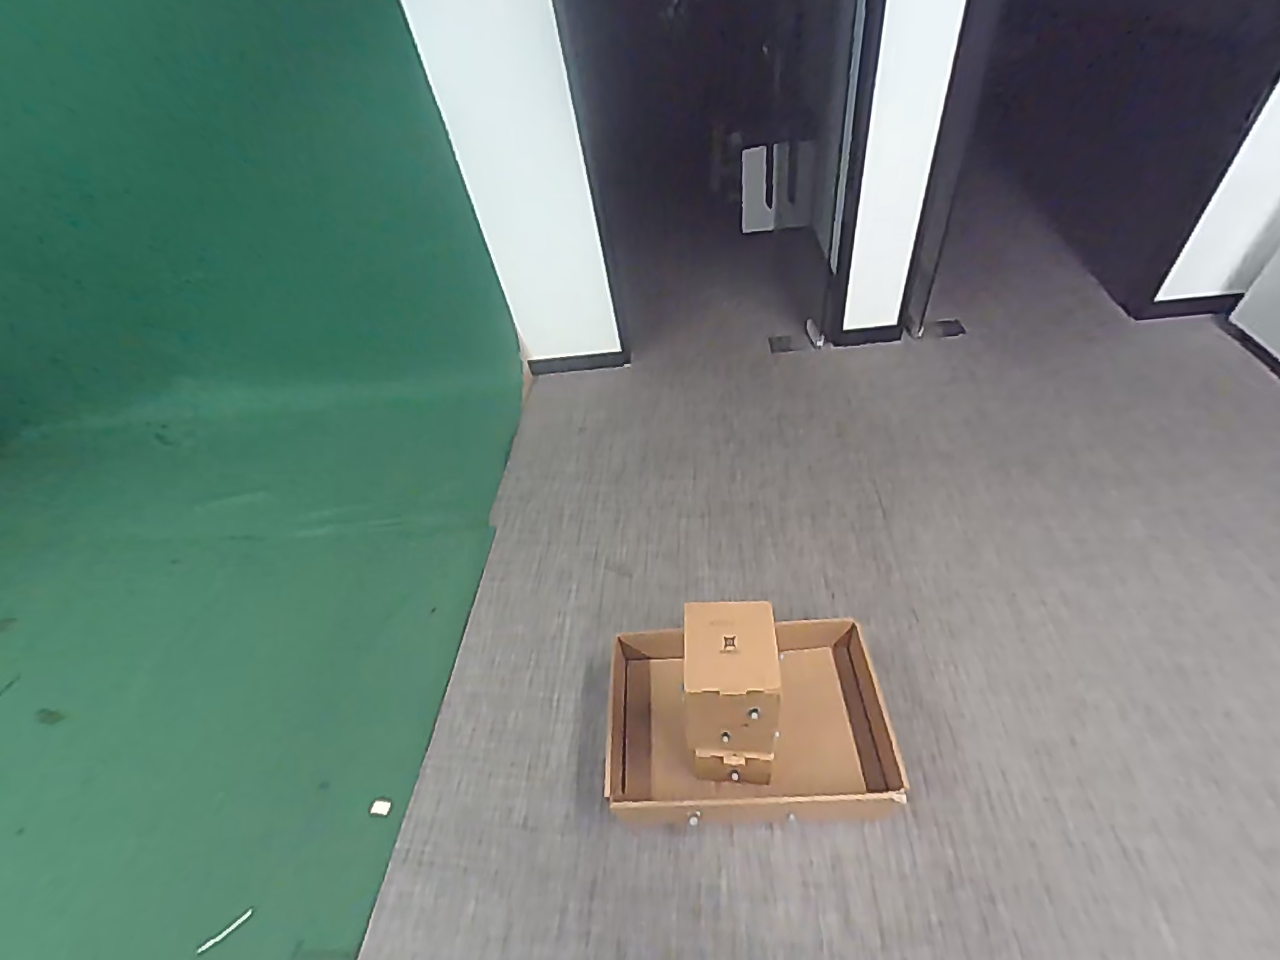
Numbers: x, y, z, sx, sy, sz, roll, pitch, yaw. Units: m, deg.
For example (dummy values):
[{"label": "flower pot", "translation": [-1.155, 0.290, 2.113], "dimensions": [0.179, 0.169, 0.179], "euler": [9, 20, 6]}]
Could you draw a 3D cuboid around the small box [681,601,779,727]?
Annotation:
[{"label": "small box", "translation": [0.167, 0.348, 1.016], "dimensions": [0.168, 0.176, 0.179], "euler": [-2, 44, 7]}]

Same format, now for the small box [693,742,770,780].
[{"label": "small box", "translation": [0.214, 0.574, 1.247], "dimensions": [0.168, 0.176, 0.179], "euler": [0, 47, 10]}]

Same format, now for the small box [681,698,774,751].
[{"label": "small box", "translation": [0.189, 0.453, 1.138], "dimensions": [0.179, 0.176, 0.168], "euler": [1, 46, 13]}]
